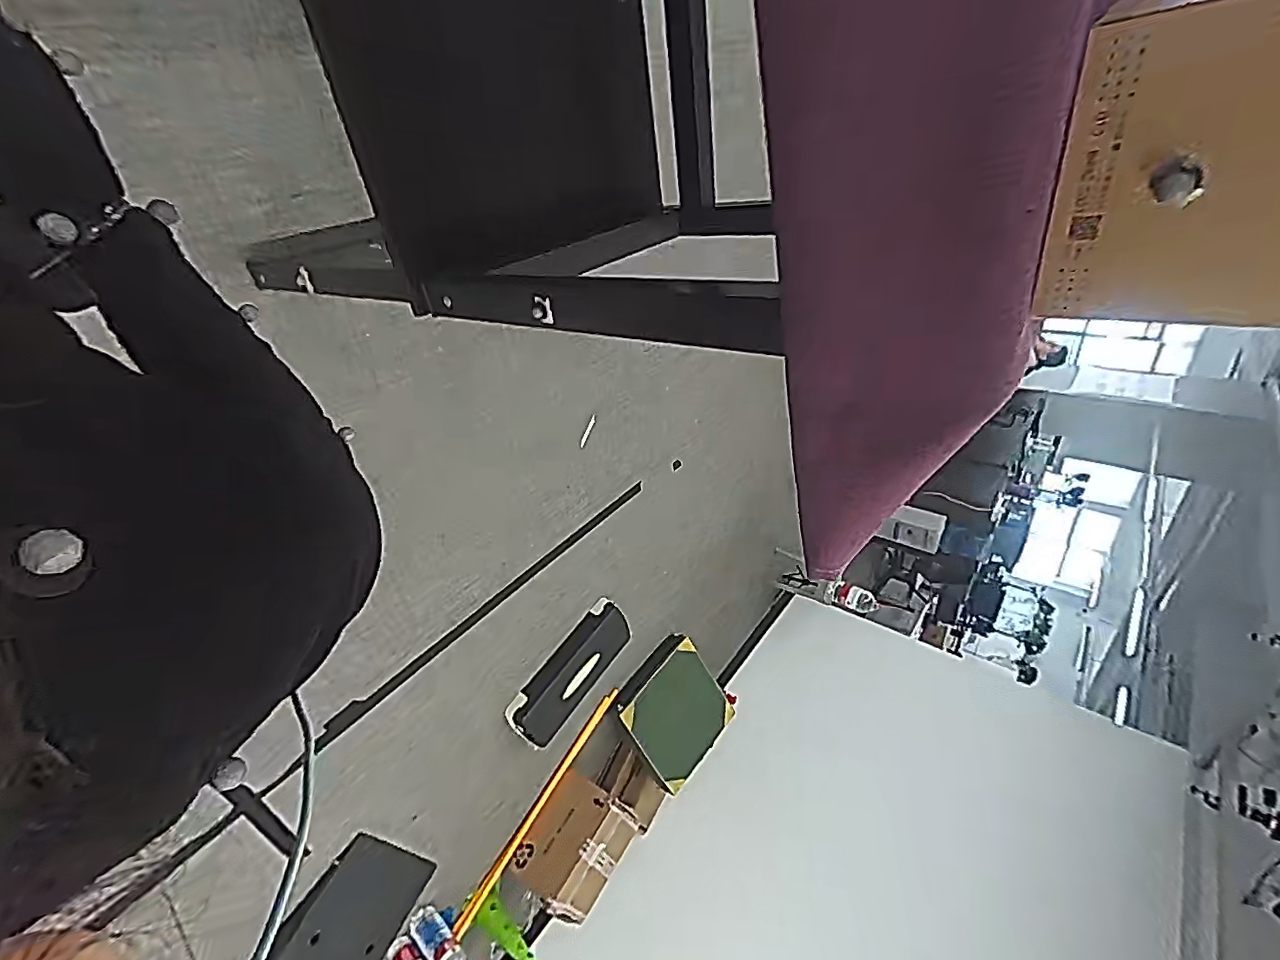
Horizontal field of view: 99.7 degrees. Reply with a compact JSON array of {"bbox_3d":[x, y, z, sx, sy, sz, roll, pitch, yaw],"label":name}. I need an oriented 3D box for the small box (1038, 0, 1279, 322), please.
[{"bbox_3d":[0.379,-0.213,0.338,0.179,0.176,0.168,-45,134,-33],"label":"small box"}]
